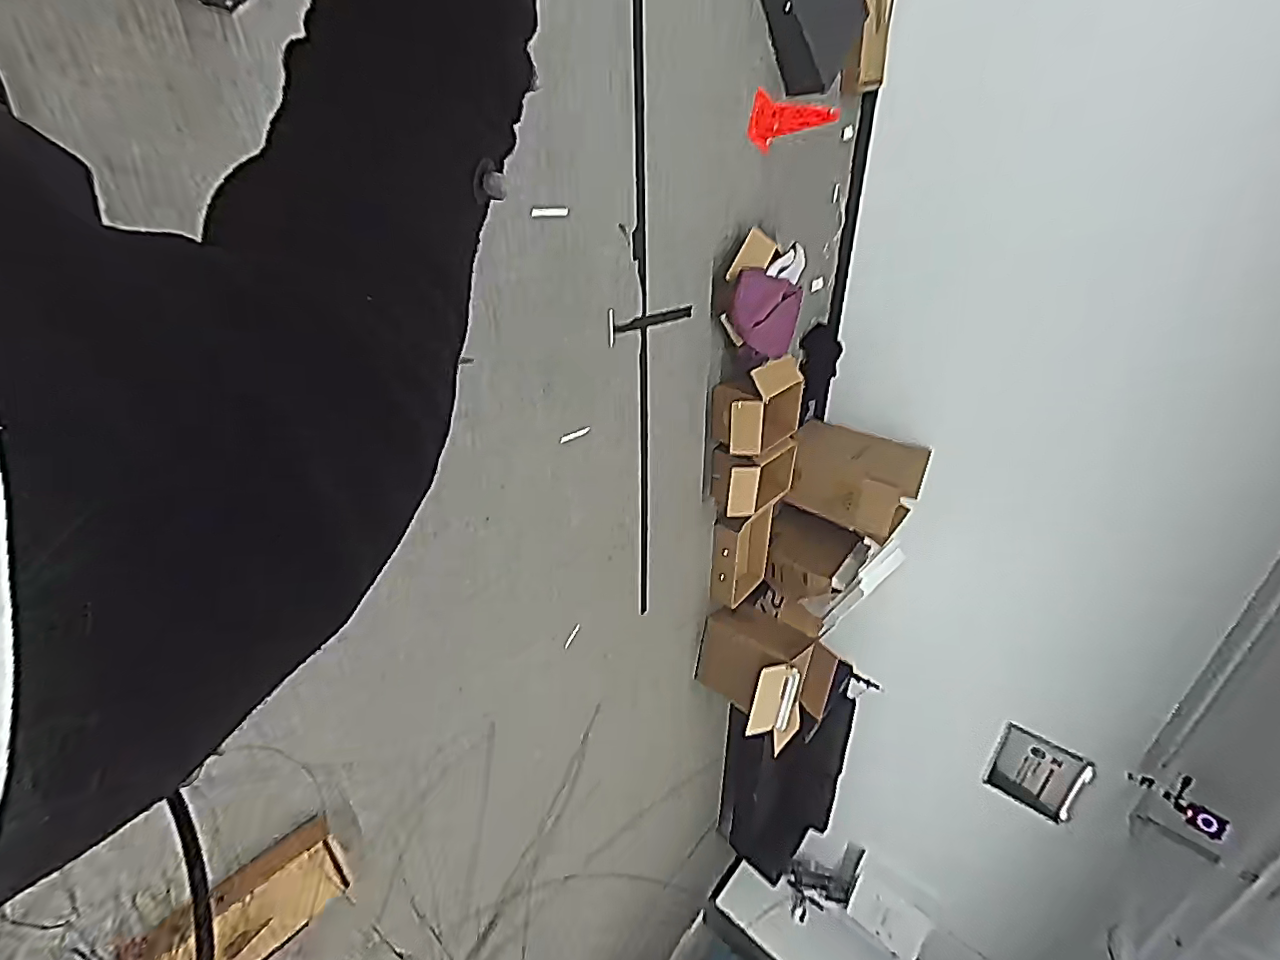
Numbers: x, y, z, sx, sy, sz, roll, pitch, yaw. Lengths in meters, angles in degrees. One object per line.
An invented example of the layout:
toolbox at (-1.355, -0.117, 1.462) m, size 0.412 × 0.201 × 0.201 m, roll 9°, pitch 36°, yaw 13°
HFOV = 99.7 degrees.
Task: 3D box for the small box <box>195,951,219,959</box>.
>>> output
small box at (-1.223, 1.461, 1.481) m, size 0.168 × 0.176 × 0.179 m, roll -25°, pitch 126°, yaw -44°
